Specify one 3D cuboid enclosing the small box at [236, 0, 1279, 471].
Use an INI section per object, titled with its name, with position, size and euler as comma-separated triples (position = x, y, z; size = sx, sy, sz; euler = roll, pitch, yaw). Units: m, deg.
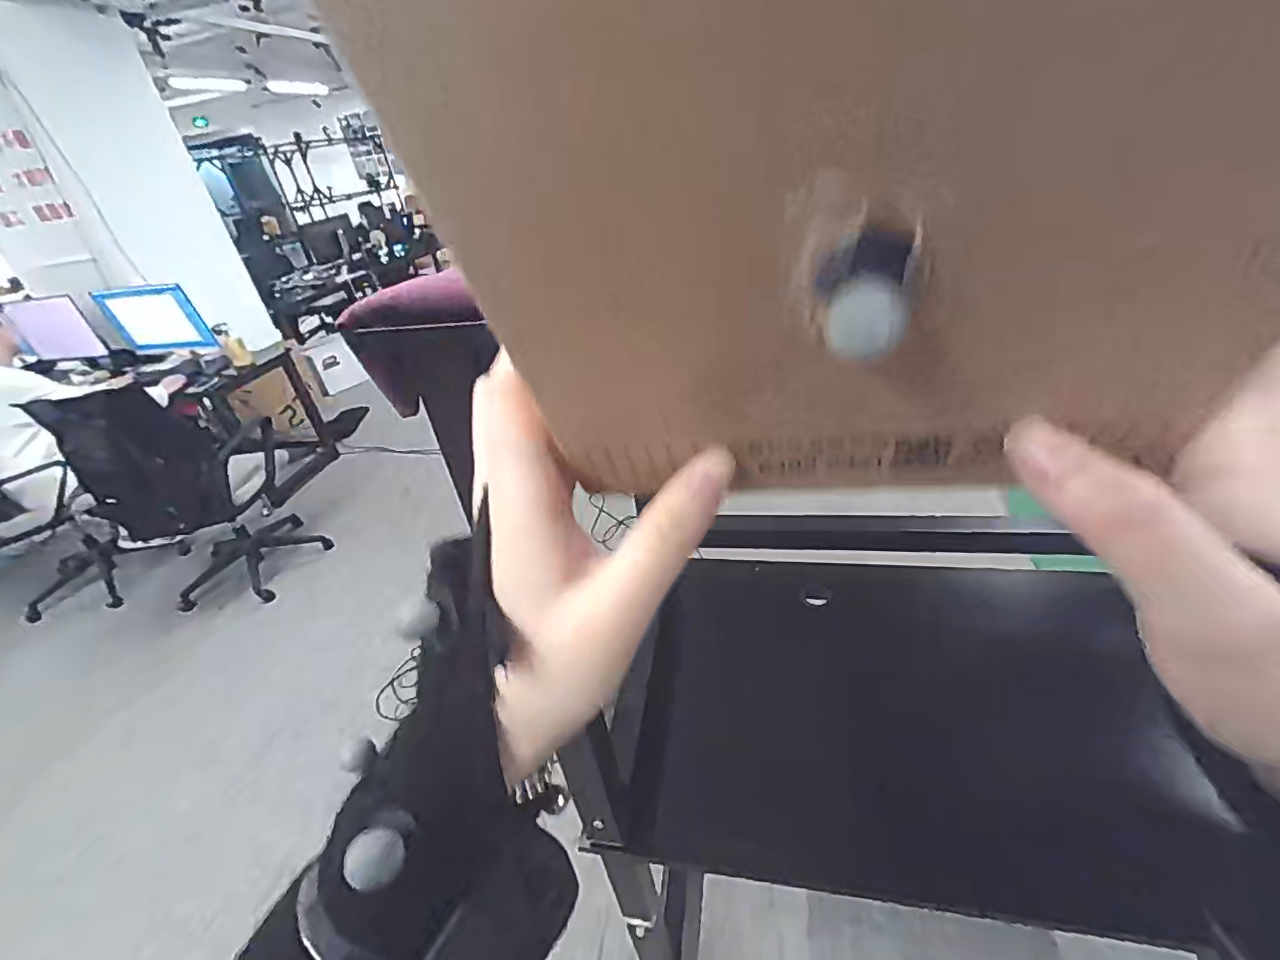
[small box]
position = 0.045, -0.112, 0.147
size = 0.168, 0.176, 0.179
euler = -2, 58, 15
